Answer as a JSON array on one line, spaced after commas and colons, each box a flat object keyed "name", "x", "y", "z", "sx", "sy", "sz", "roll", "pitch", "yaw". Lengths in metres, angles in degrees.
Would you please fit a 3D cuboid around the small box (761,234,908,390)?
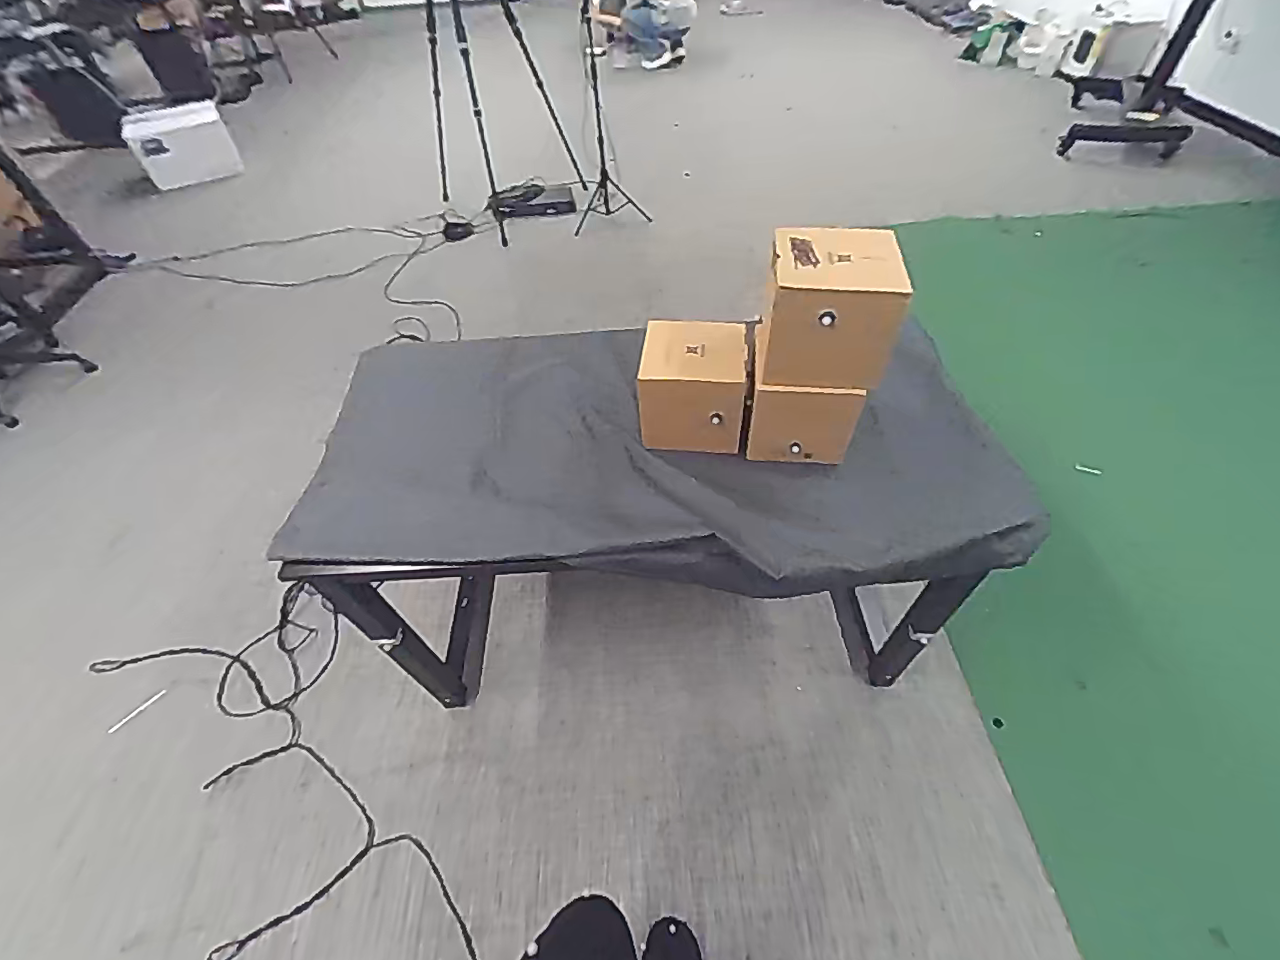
[{"name": "small box", "x": 0.279, "y": -0.253, "z": 0.822, "sx": 0.179, "sy": 0.176, "sz": 0.168, "roll": 4, "pitch": 52, "yaw": 7}]
